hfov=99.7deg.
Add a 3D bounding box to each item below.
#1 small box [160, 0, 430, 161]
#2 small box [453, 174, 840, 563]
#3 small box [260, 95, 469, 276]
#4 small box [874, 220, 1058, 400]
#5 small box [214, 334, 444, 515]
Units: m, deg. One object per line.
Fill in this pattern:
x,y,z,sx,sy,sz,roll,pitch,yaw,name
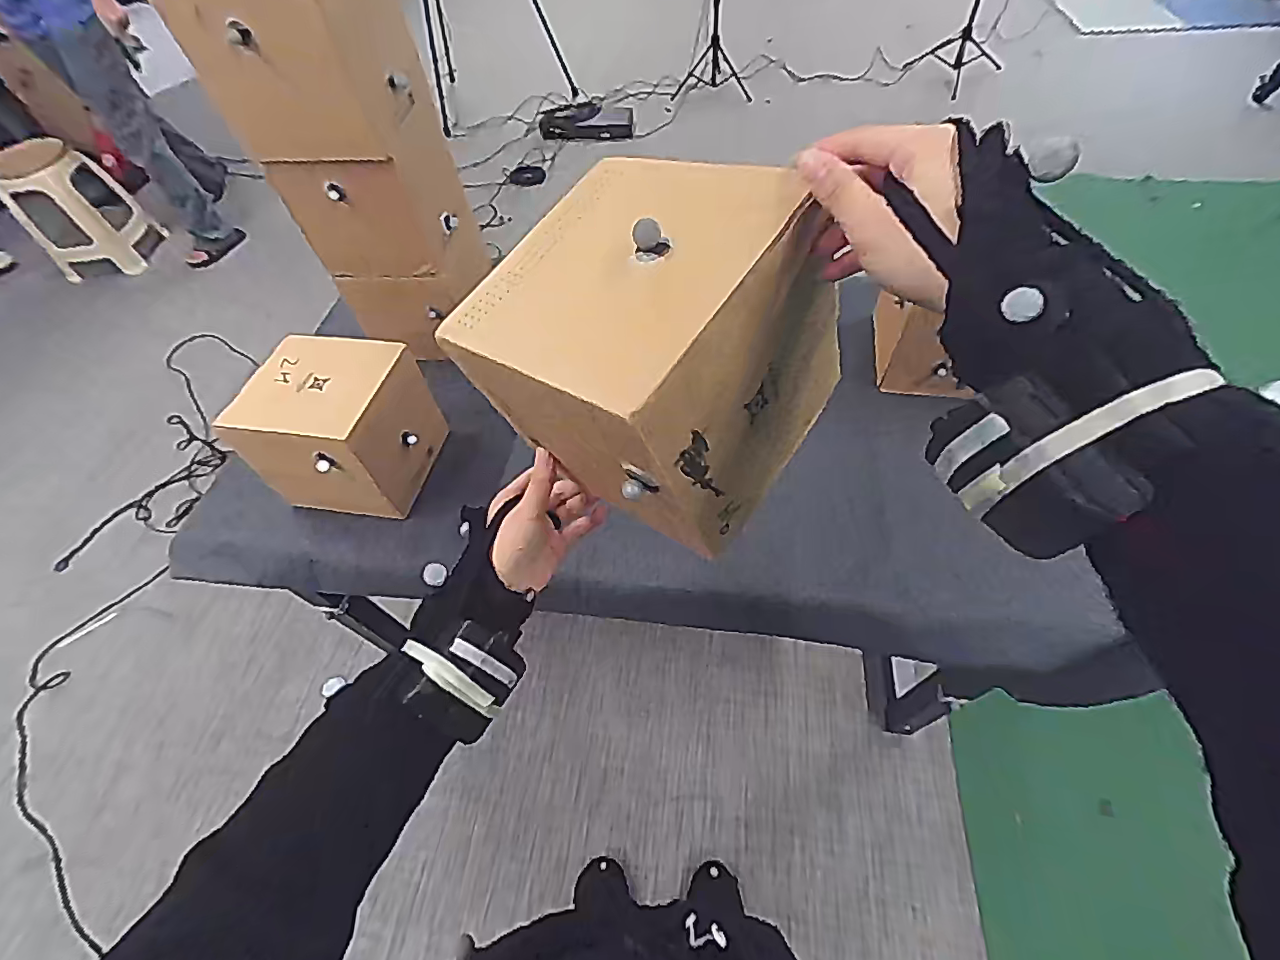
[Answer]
-0.371,-0.485,0.608,0.179,0.176,0.168,4,59,6,small box
0.013,-0.081,0.366,0.176,0.168,0.179,27,71,35,small box
-0.363,-0.404,0.751,0.179,0.176,0.168,2,59,4,small box
0.442,-0.239,0.769,0.168,0.176,0.179,6,58,9,small box
-0.389,-0.069,0.719,0.179,0.176,0.168,6,54,9,small box
